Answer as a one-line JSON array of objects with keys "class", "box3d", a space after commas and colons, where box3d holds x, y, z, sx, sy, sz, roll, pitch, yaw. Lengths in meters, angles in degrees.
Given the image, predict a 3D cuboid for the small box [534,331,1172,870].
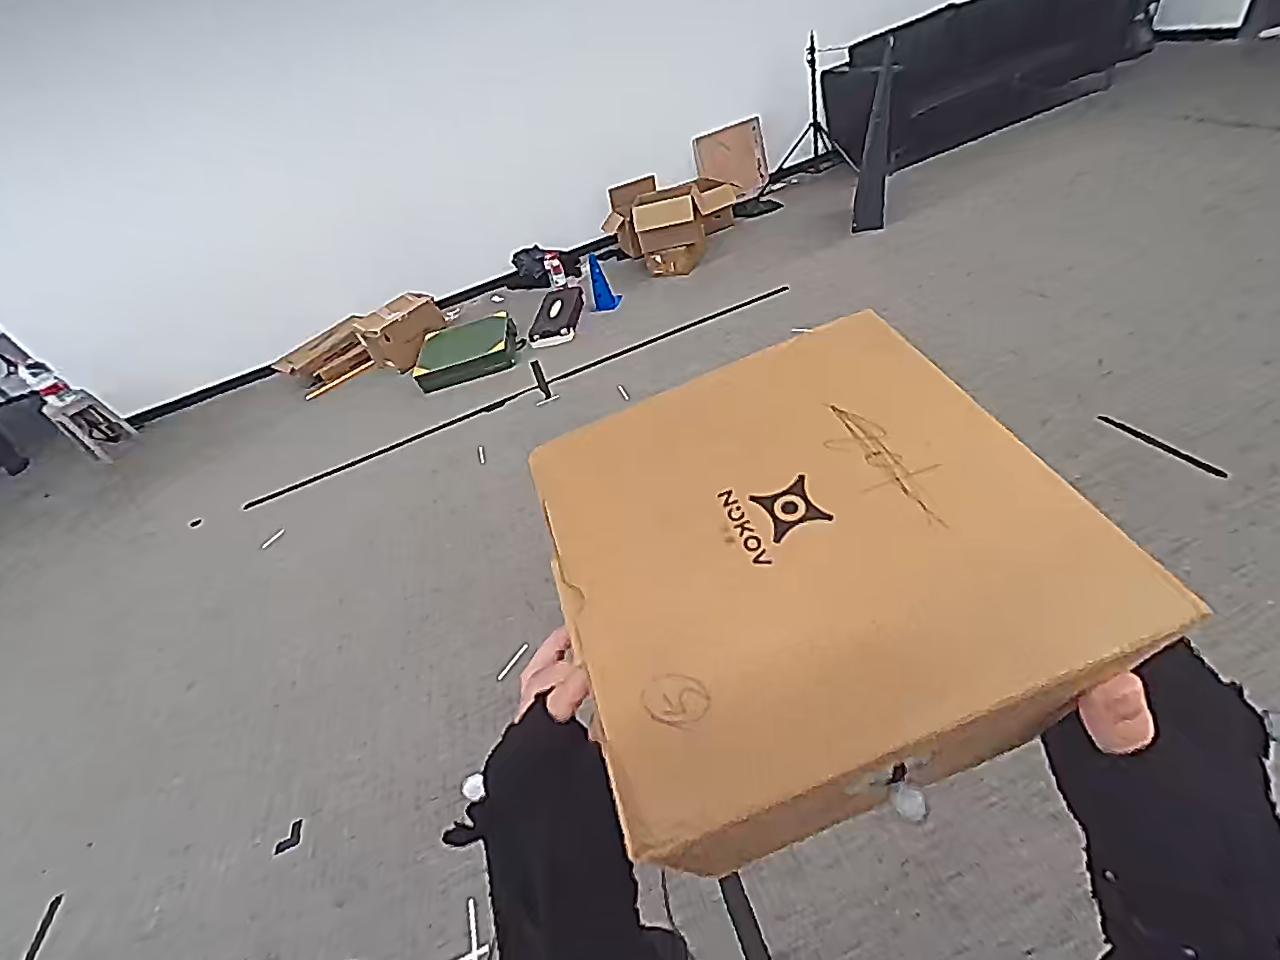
[{"class": "small box", "box3d": [0.072, 0.067, 0.266, 0.179, 0.176, 0.168, -23, 51, 0]}]
